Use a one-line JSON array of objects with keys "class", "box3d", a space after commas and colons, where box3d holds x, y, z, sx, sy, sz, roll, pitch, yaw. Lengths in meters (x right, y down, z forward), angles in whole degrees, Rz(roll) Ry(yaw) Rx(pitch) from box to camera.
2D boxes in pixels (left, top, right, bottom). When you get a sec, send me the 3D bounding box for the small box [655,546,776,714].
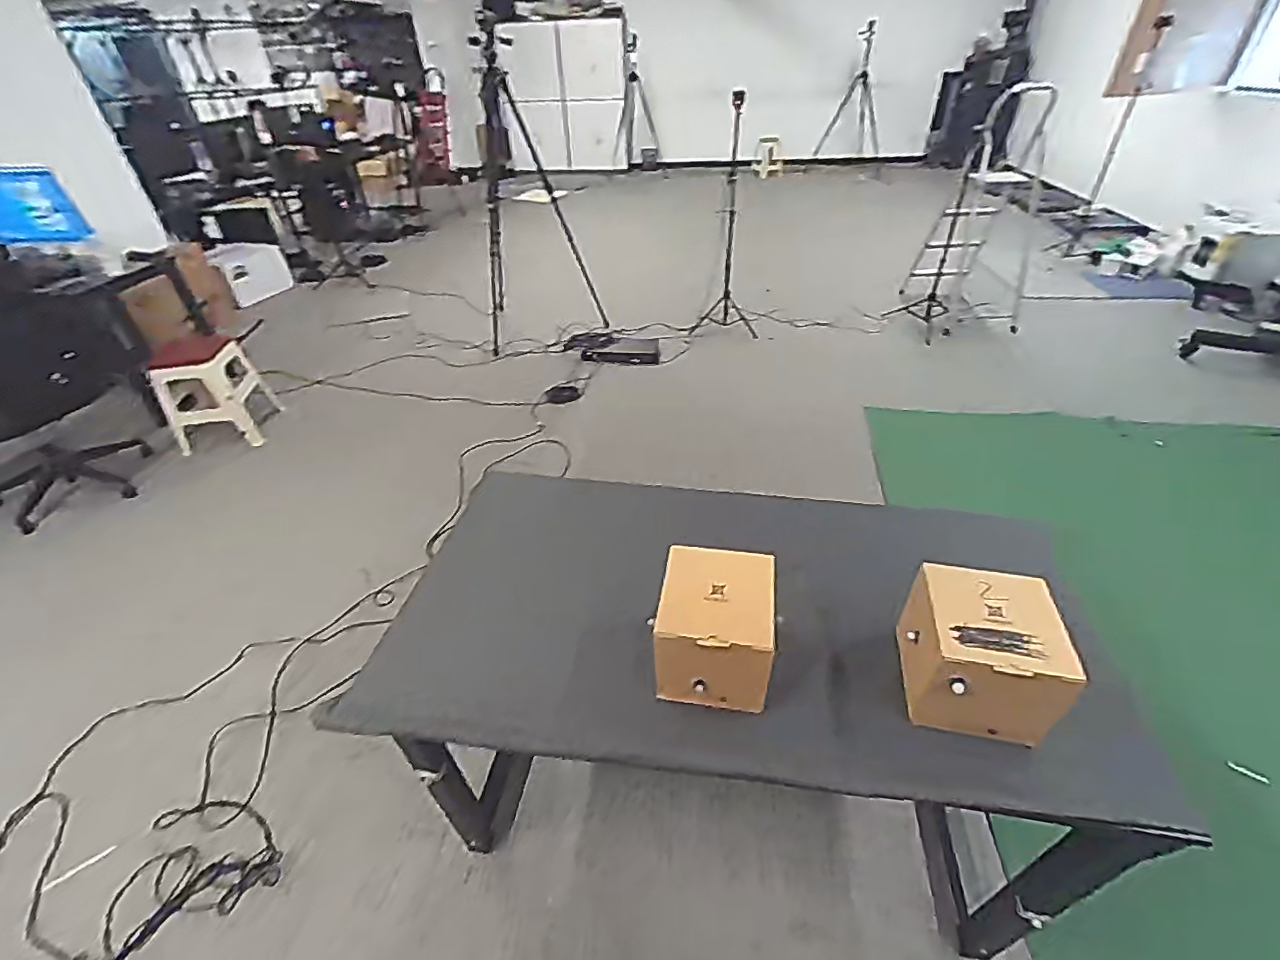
[{"class": "small box", "box3d": [0.116, 0.231, 0.843, 0.168, 0.176, 0.179, 6, 39, 8]}]
